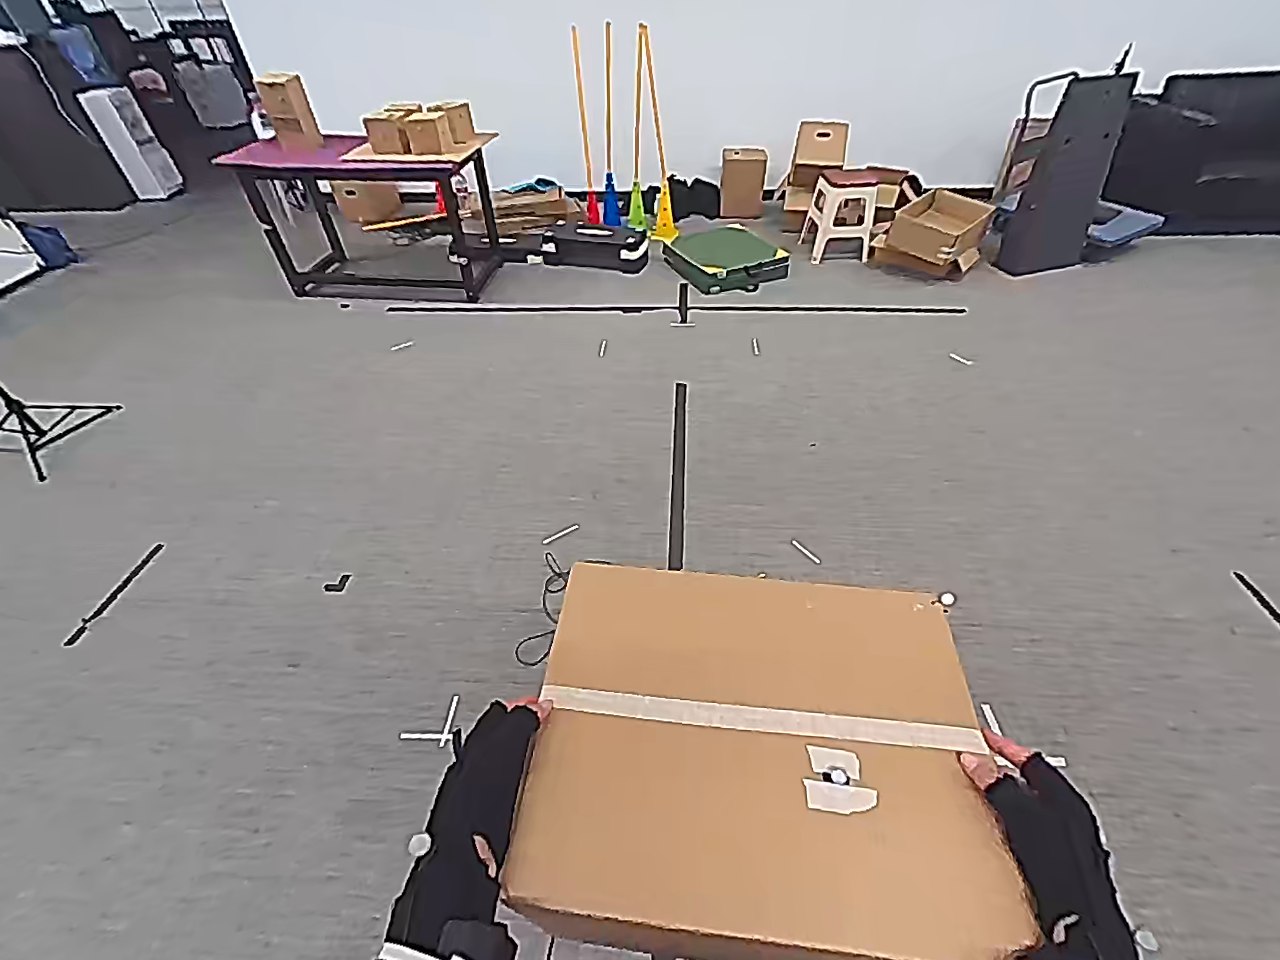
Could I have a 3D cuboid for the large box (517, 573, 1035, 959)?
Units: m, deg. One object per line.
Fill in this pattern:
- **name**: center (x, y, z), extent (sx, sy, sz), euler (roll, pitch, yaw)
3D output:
- **large box**: center (0.112, 0.334, 0.621), extent (0.408, 0.320, 0.320), euler (4, 47, 5)
